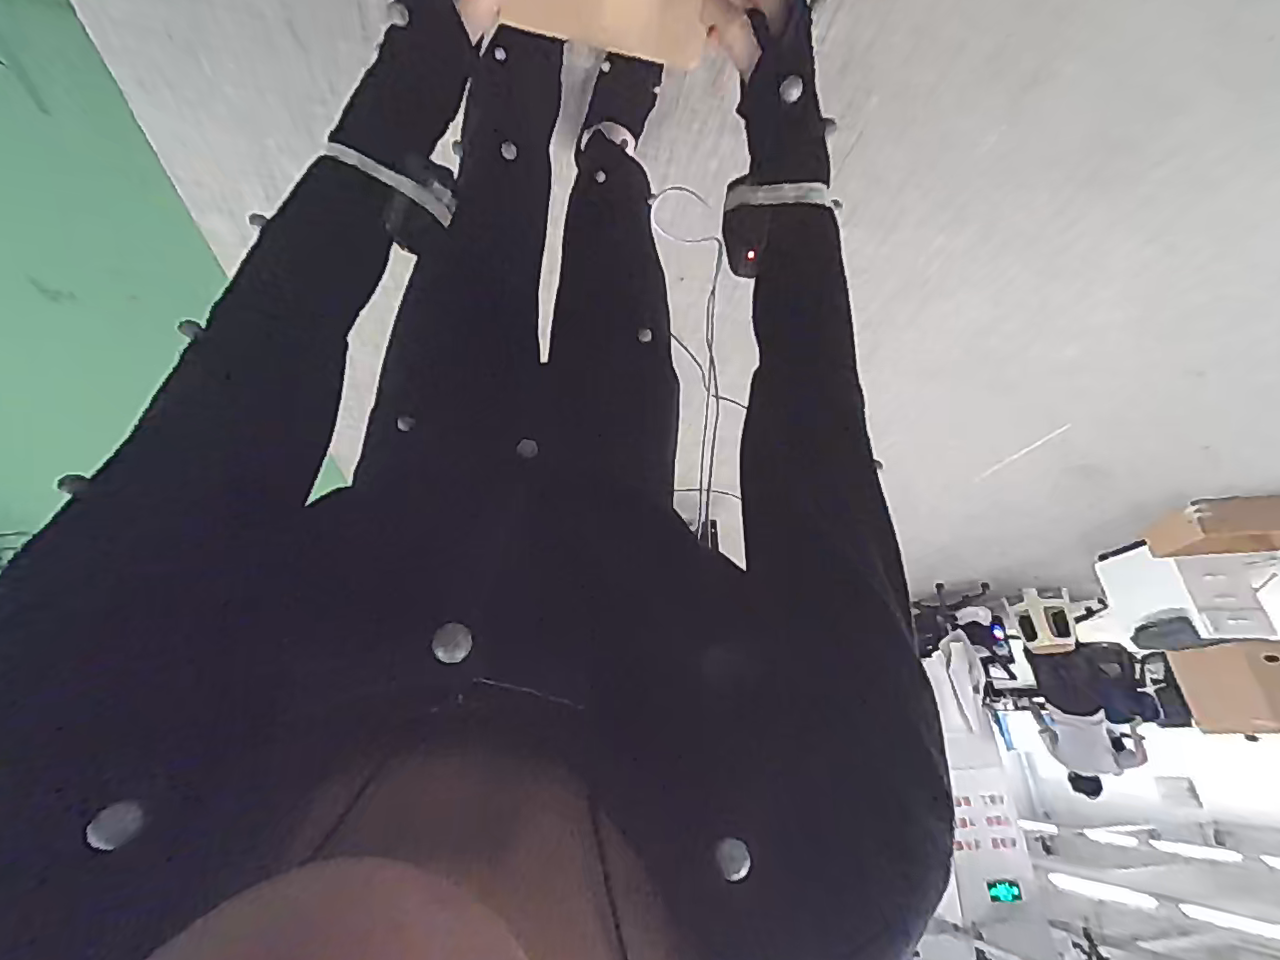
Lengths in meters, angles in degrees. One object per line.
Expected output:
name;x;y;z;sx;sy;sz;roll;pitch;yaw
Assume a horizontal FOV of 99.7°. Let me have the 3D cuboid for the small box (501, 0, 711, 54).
small box;-0.017;-0.500;0.438;0.179;0.176;0.168;5;151;-13
